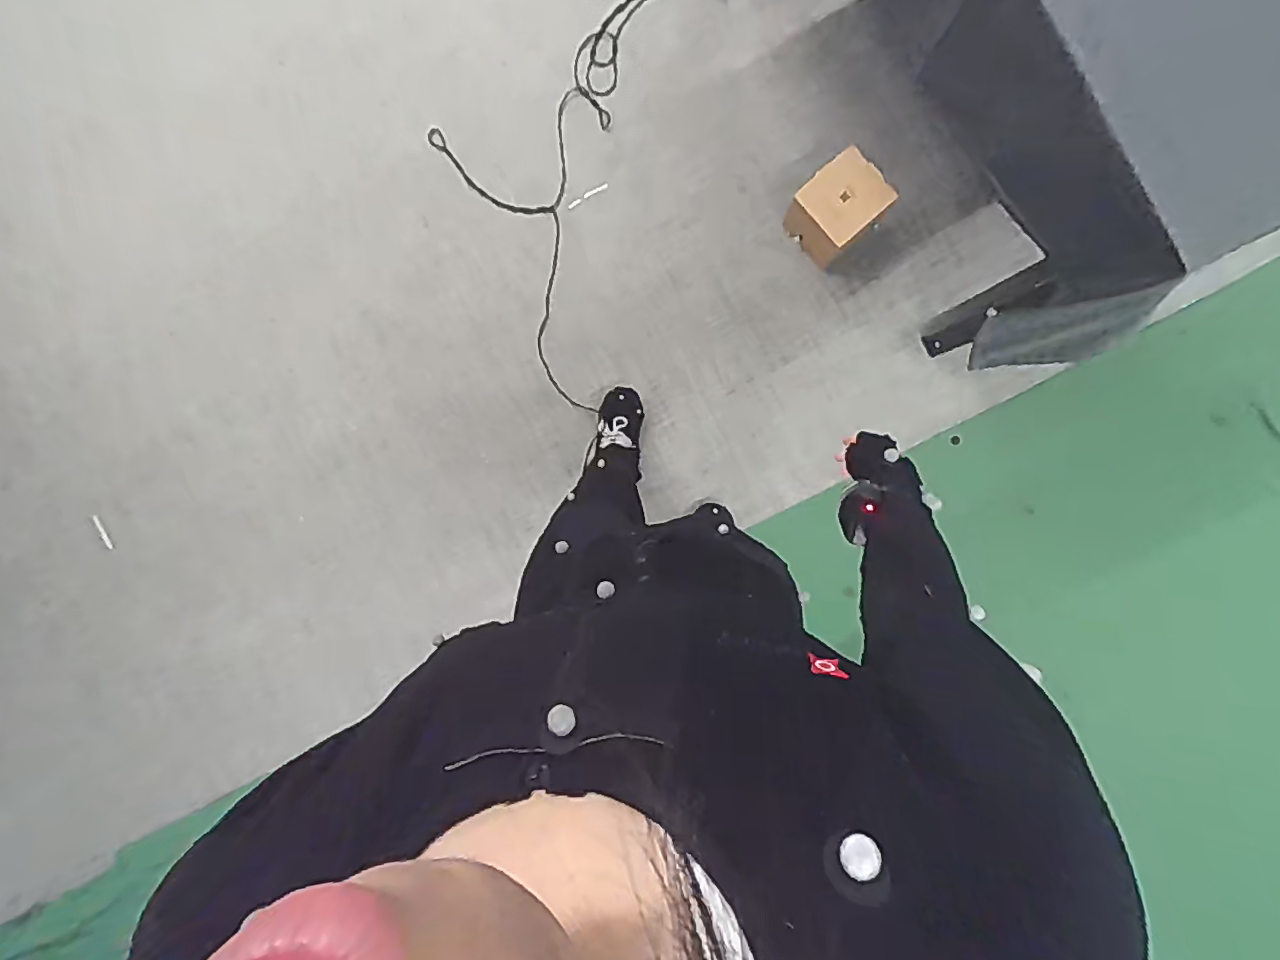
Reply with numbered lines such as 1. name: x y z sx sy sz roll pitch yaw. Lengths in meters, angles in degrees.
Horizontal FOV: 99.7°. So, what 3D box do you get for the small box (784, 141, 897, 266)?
1. small box: 0.474 -0.659 1.311 0.179 0.176 0.168 -40 89 5
